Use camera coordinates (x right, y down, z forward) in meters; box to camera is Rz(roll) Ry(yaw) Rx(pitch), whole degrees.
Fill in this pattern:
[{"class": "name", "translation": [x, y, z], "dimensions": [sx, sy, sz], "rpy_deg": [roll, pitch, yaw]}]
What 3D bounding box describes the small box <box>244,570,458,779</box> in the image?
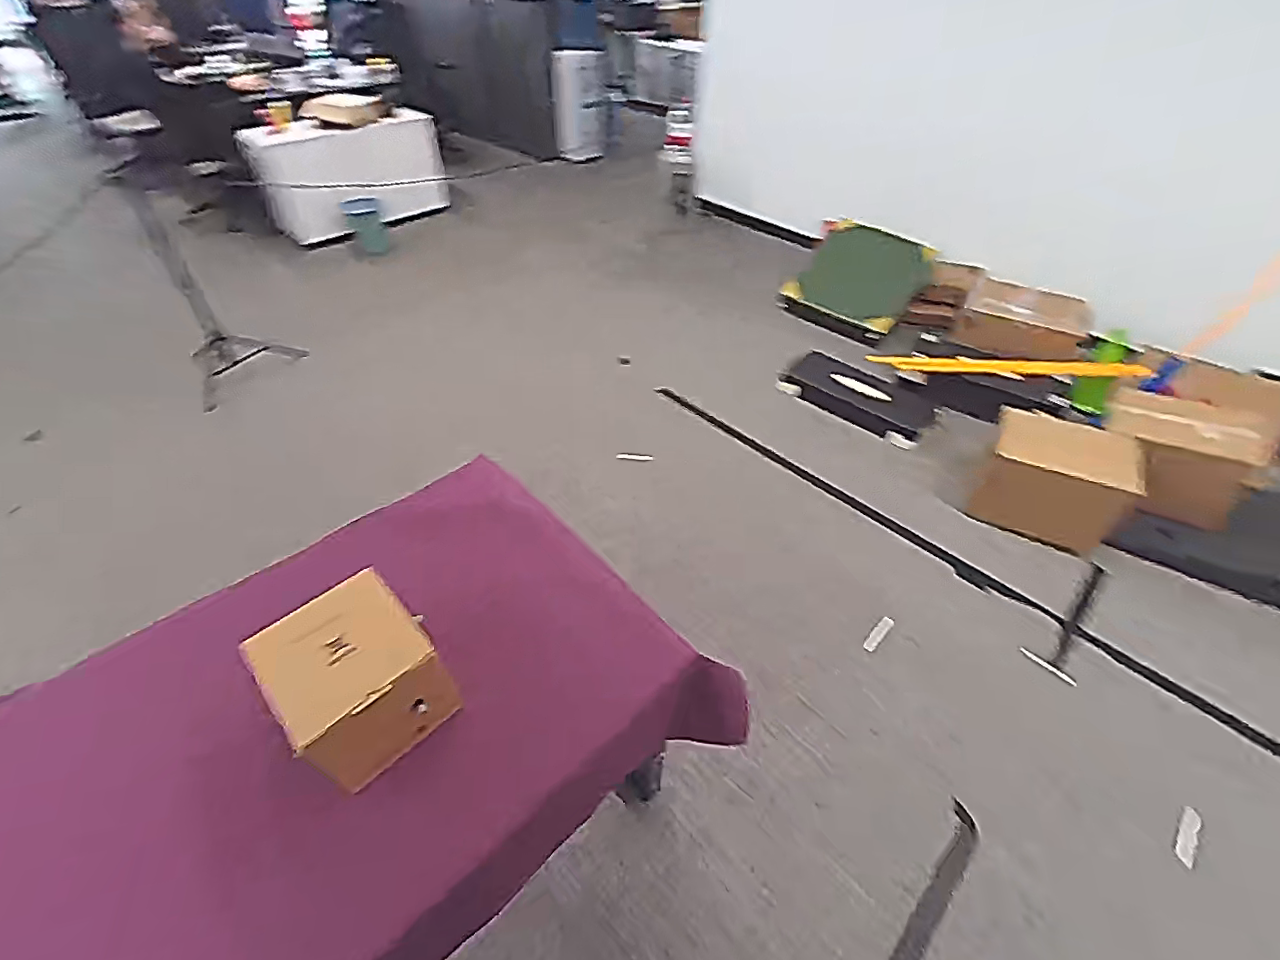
[{"class": "small box", "translation": [-0.367, 0.261, 0.714], "dimensions": [0.179, 0.176, 0.168], "rpy_deg": [36, 54, 29]}]
